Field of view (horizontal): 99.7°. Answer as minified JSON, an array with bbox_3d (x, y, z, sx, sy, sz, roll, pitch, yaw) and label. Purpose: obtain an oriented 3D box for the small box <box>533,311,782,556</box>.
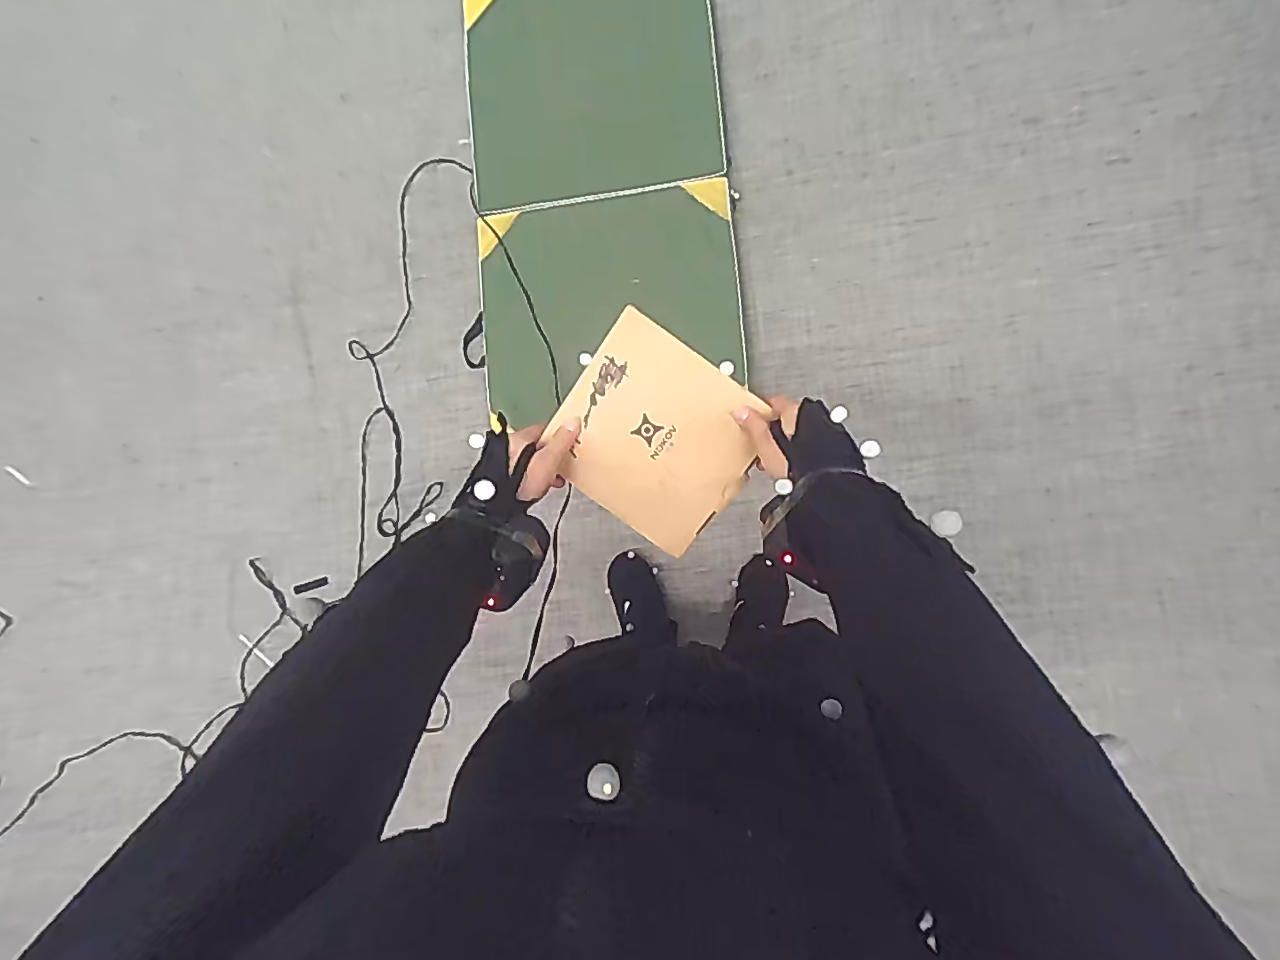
[{"bbox_3d":[0.023,-0.054,0.574,0.179,0.176,0.168,36,102,0],"label":"small box"}]
